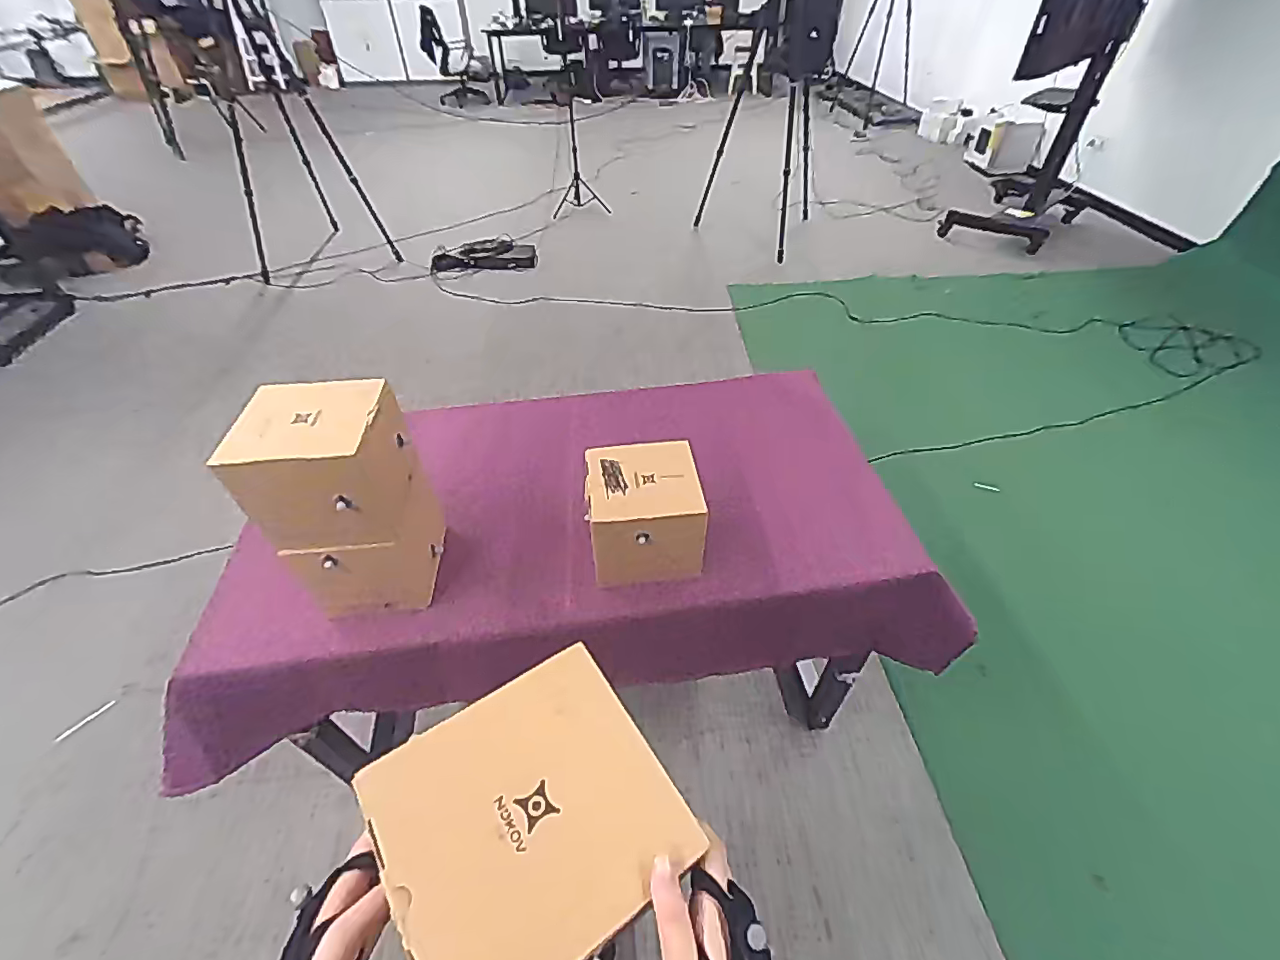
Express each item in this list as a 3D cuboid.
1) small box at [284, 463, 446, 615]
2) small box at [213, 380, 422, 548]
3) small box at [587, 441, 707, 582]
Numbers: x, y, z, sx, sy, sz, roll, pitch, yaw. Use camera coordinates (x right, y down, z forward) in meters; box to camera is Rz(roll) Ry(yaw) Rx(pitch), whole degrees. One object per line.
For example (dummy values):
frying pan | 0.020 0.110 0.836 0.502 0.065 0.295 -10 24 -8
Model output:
small box | -0.425 0.095 0.875 0.168 0.176 0.179 -5 45 -3
small box | -0.427 -0.021 0.759 0.179 0.176 0.168 -4 45 -2
small box | 0.008 0.056 0.903 0.179 0.176 0.168 -5 46 -4
